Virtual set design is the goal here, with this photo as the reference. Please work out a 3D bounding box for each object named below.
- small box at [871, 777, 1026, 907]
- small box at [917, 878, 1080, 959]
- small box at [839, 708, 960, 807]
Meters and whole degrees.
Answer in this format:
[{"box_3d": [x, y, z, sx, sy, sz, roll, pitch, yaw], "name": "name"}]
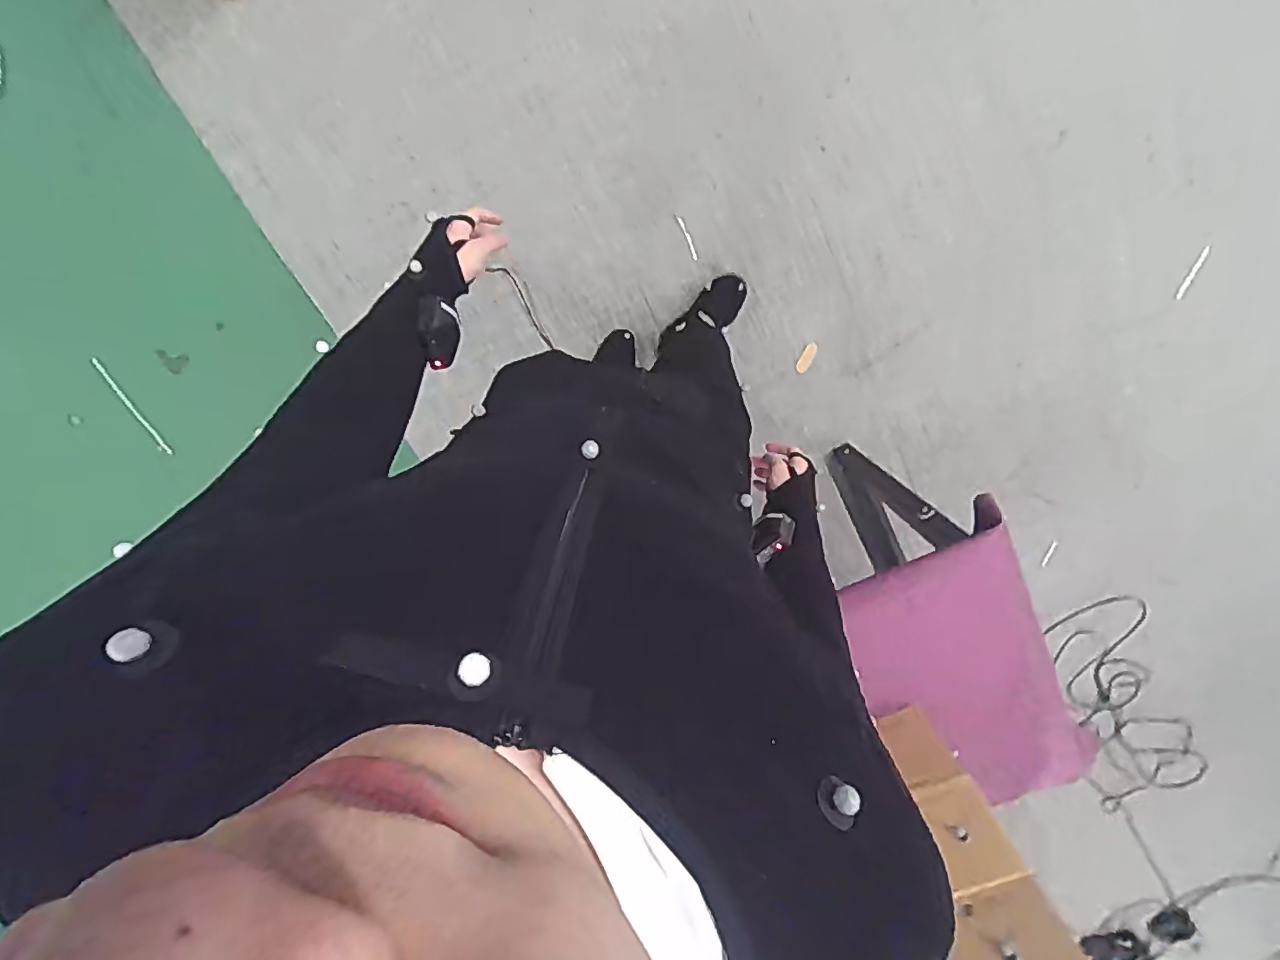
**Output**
[{"box_3d": [0.511, 0.626, 0.894, 0.168, 0.176, 0.179, -26, 109, 9], "name": "small box"}, {"box_3d": [0.514, 0.689, 0.742, 0.168, 0.176, 0.179, -26, 108, 10], "name": "small box"}, {"box_3d": [0.511, 0.573, 1.047, 0.168, 0.176, 0.179, -25, 109, 9], "name": "small box"}]
